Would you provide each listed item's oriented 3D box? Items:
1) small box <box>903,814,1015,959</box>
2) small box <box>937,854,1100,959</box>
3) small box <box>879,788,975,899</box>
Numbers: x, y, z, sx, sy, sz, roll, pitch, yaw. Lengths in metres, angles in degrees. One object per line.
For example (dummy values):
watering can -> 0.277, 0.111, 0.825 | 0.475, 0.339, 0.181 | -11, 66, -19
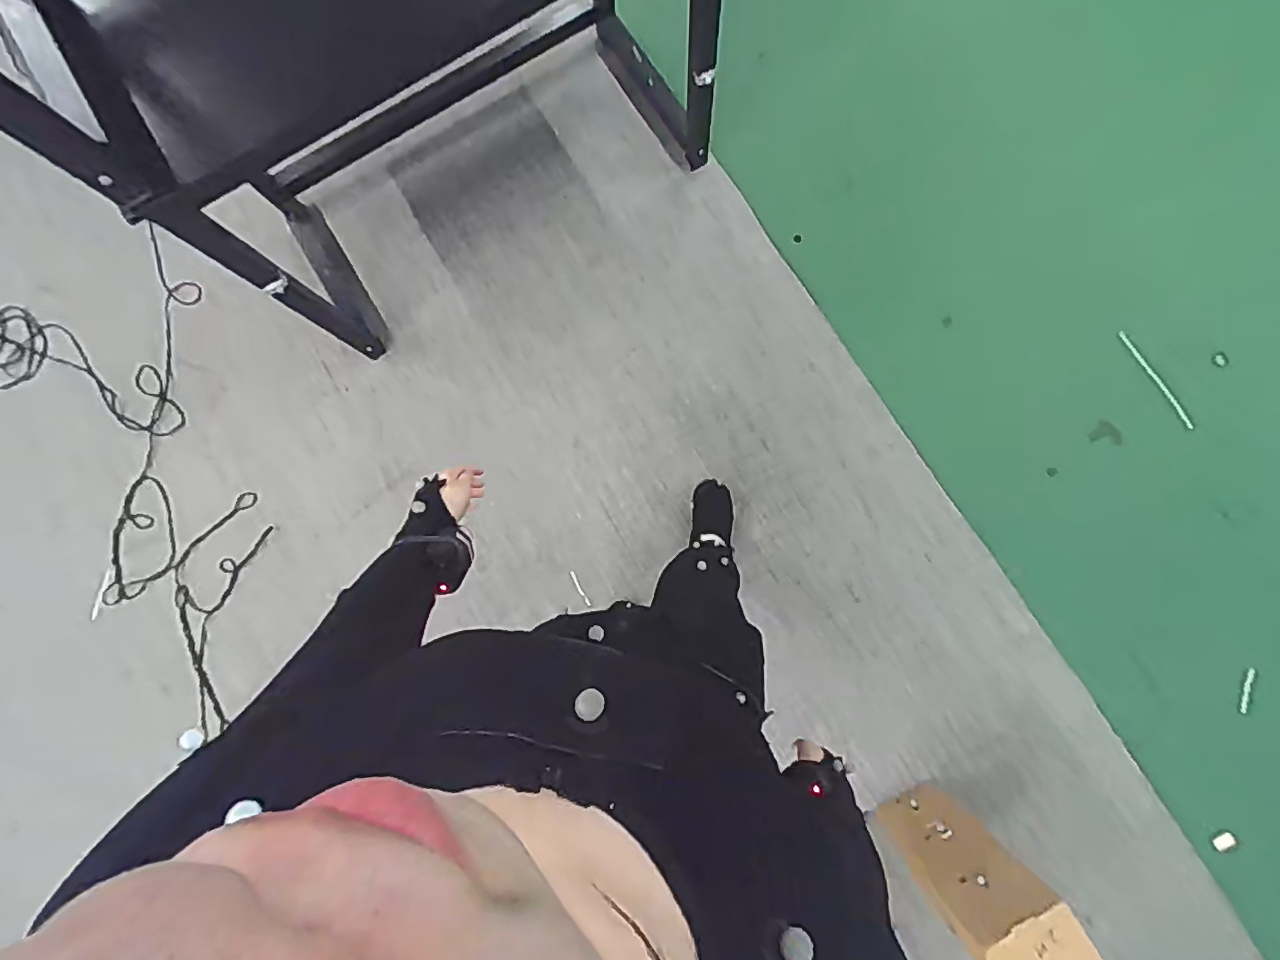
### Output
small box -> 0.688, 0.843, 1.118 | 0.168, 0.176, 0.179 | -30, 81, -2
small box -> 0.674, 0.820, 0.955 | 0.168, 0.176, 0.179 | -29, 82, -2
small box -> 0.701, 0.864, 1.278 | 0.168, 0.176, 0.179 | -26, 81, 0
